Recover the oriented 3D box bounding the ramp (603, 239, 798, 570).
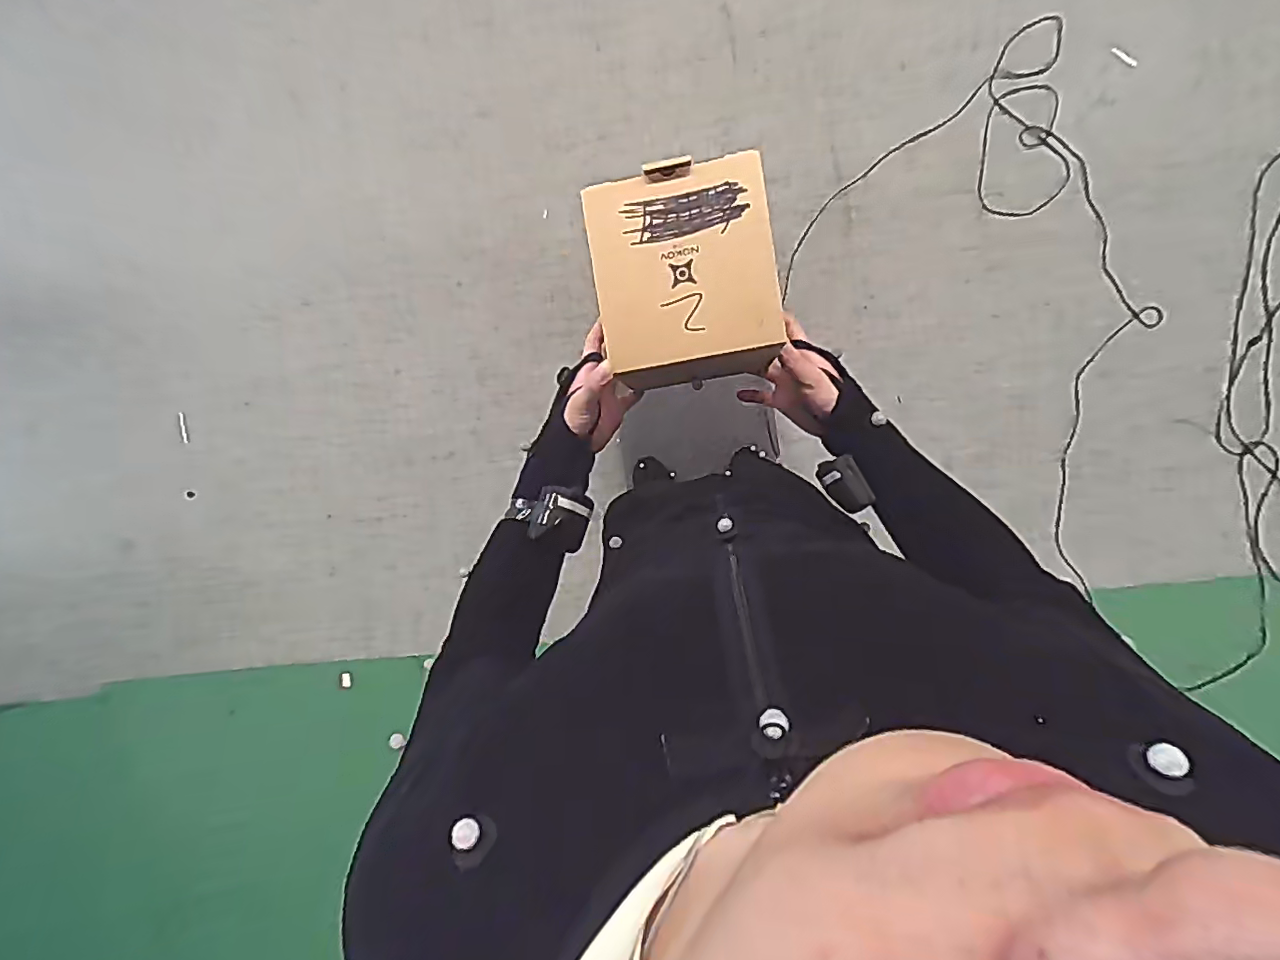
[{"bbox_3d":[0.176,-0.244,1.686,0.509,0.206,0.991,-9,94,4],"label":"ramp"}]
